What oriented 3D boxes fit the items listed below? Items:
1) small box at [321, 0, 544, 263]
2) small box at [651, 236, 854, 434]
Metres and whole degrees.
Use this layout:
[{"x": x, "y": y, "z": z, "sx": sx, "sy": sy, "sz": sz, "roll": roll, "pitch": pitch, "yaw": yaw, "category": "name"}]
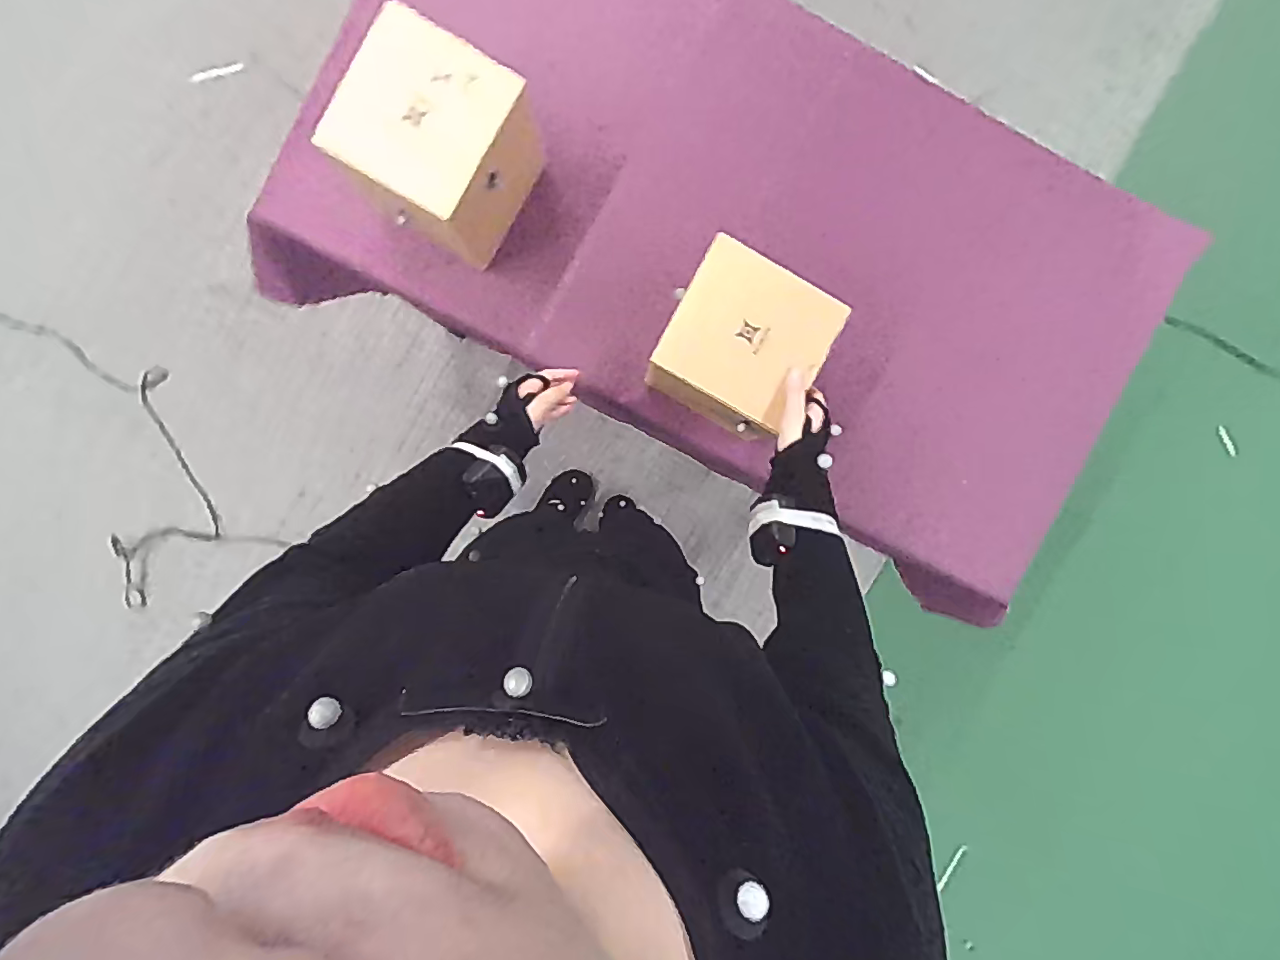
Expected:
[{"x": -0.232, "y": -0.398, "z": 0.657, "sx": 0.168, "sy": 0.176, "sz": 0.179, "roll": 31, "pitch": 91, "yaw": -4, "category": "small box"}, {"x": 0.125, "y": -0.165, "z": 0.686, "sx": 0.179, "sy": 0.176, "sz": 0.168, "roll": 29, "pitch": 92, "yaw": -4, "category": "small box"}]
